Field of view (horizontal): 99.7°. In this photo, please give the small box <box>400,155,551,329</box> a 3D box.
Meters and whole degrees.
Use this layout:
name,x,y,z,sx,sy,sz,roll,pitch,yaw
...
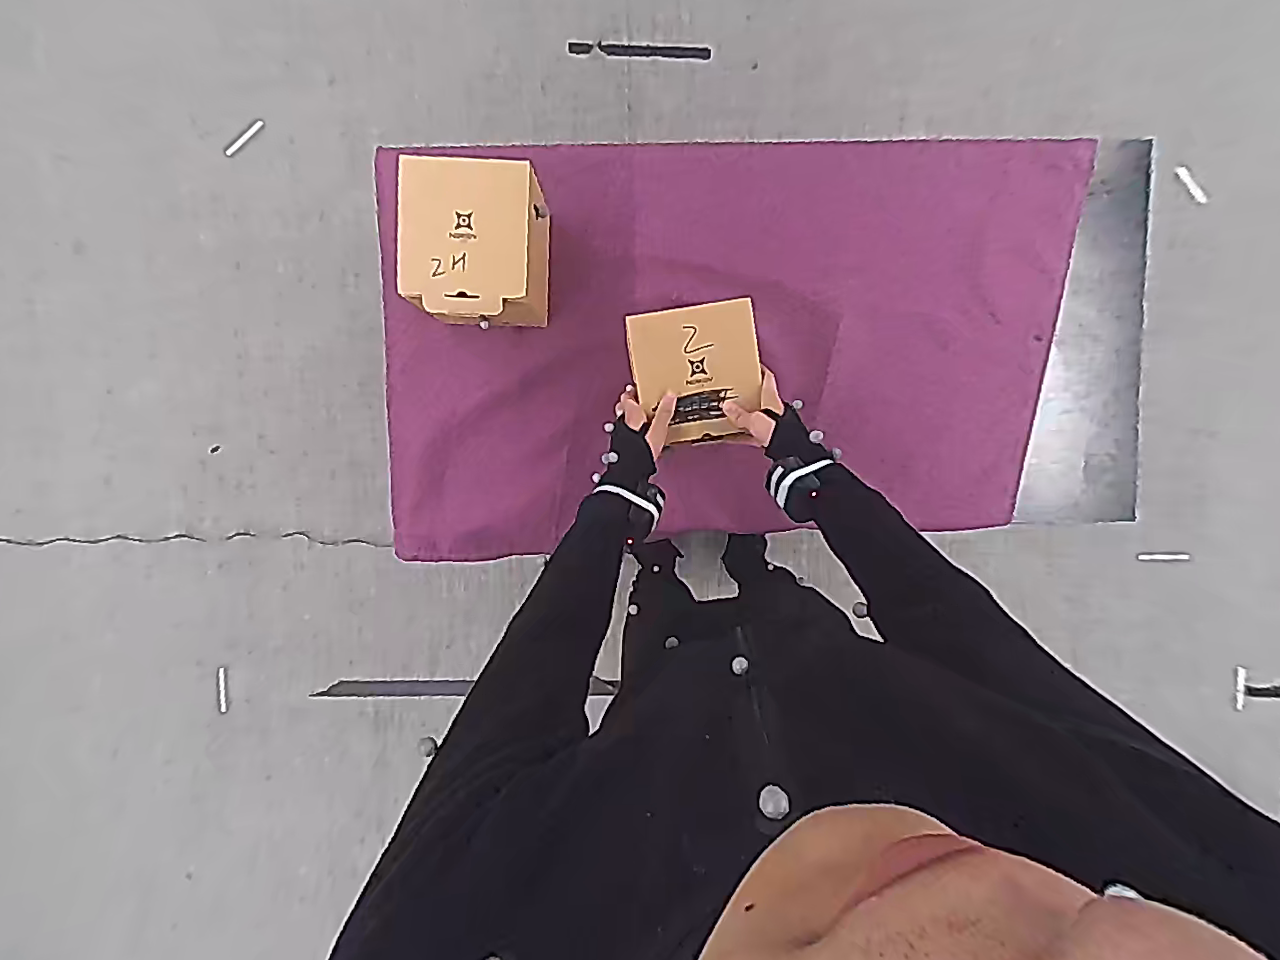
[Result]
name,x,y,z,sx,sy,sz,roll,pitch,yaw
small box,-0.221,-0.323,0.762,0.168,0.176,0.179,2,95,0
